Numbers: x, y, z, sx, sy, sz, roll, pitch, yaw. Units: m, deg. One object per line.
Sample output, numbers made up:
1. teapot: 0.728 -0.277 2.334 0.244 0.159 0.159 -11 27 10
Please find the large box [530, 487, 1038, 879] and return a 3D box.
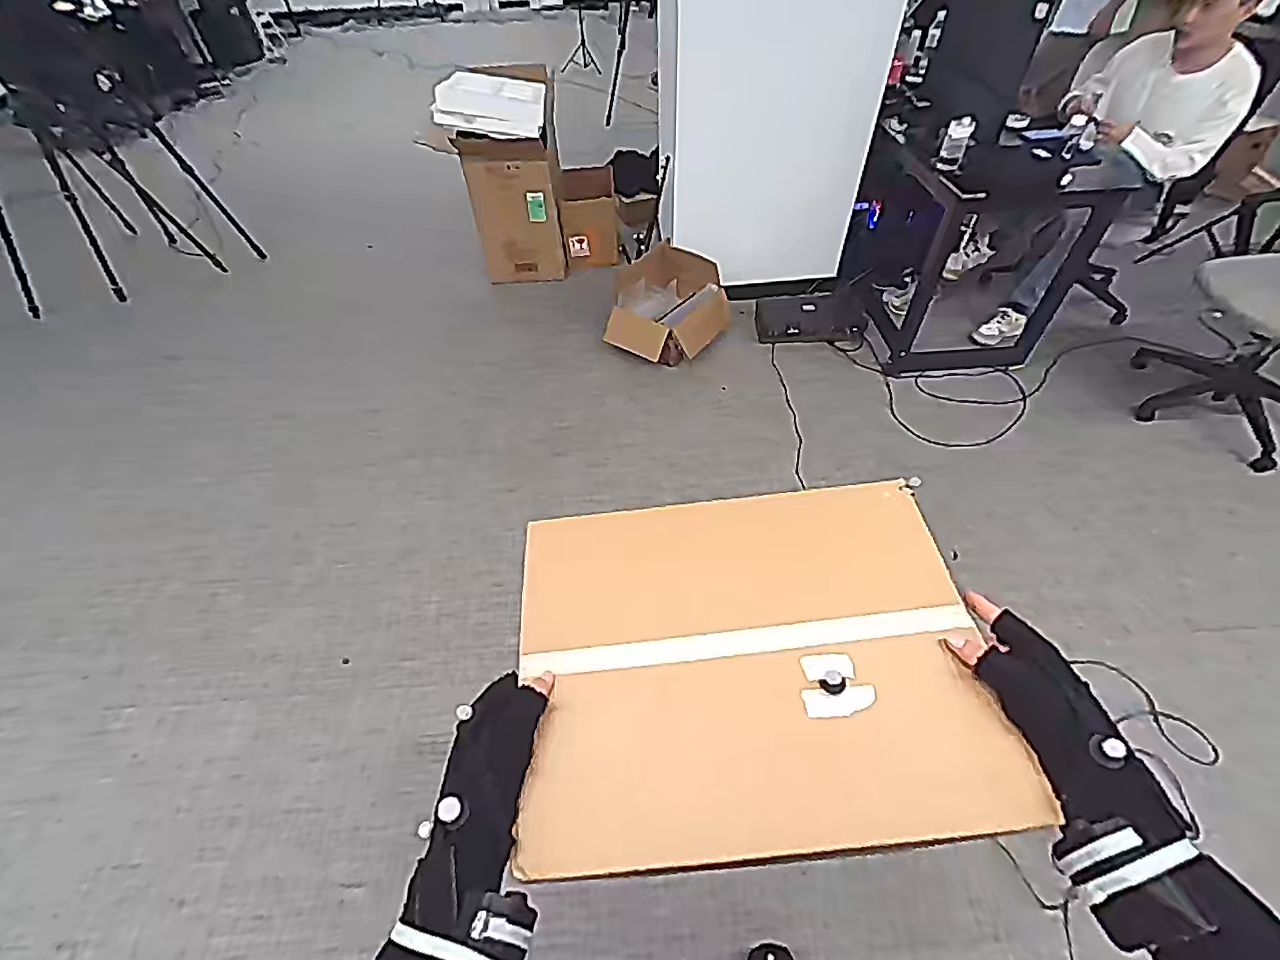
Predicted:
1. large box: 0.107 0.242 0.620 0.408 0.320 0.320 -7 53 1
